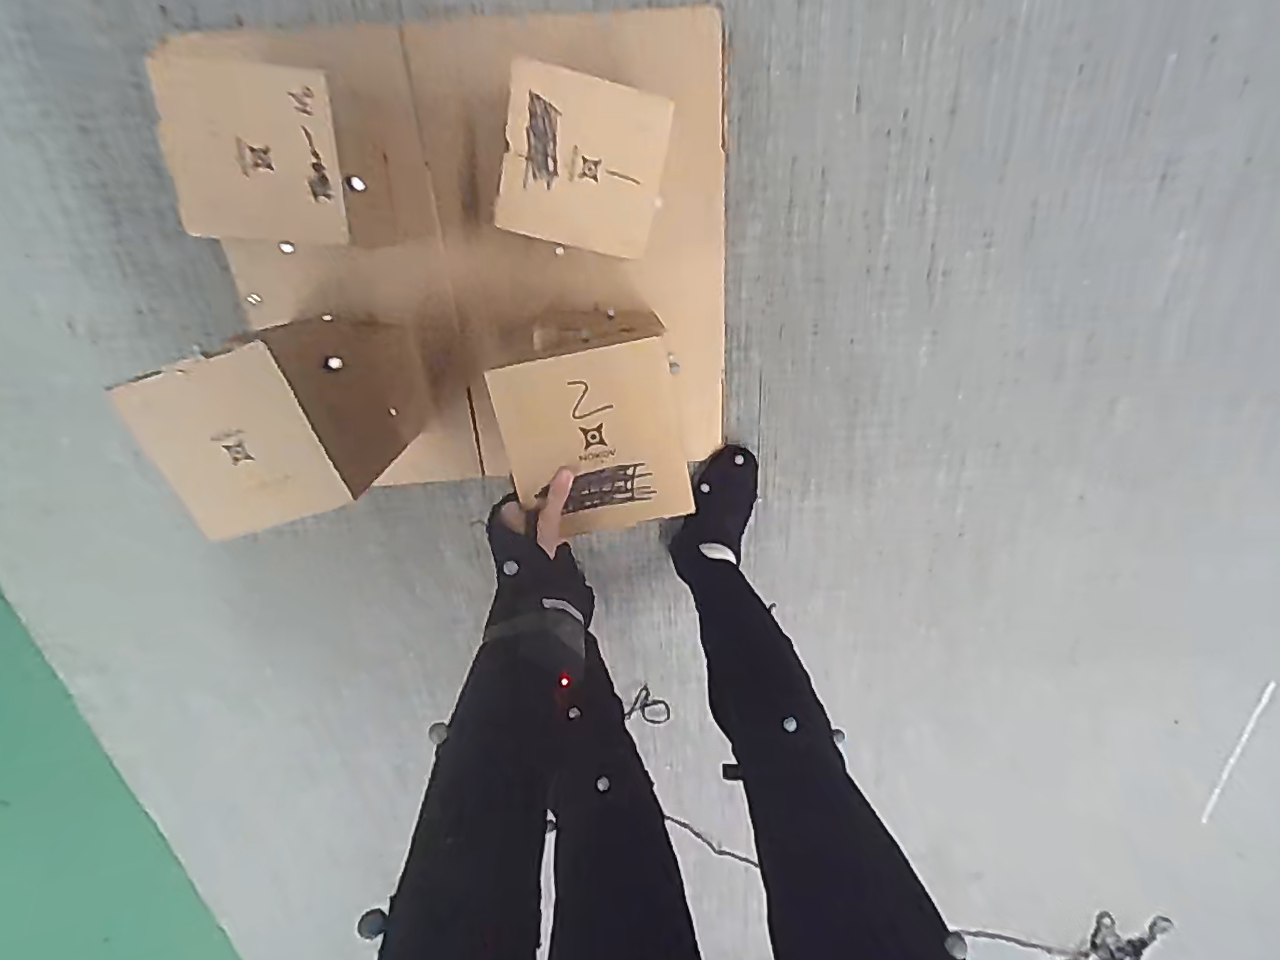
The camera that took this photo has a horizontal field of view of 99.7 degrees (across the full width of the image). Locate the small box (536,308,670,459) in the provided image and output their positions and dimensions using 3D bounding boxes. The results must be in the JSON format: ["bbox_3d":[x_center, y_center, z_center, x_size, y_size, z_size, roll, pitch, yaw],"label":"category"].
[{"bbox_3d":[-0.051,-0.140,0.761,0.168,0.176,0.179,-1,113,-4],"label":"small box"}]

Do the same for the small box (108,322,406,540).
[{"bbox_3d":[-0.391,-0.065,0.594,0.168,0.176,0.179,-15,114,4],"label":"small box"}]

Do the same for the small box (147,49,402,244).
[{"bbox_3d":[-0.405,-0.374,0.636,0.179,0.176,0.168,2,113,-4],"label":"small box"}]

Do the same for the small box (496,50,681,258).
[{"bbox_3d":[-0.064,-0.374,0.656,0.179,0.176,0.168,10,113,-9],"label":"small box"}]

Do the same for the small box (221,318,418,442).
[{"bbox_3d":[-0.421,-0.120,0.748,0.168,0.176,0.179,0,113,-5],"label":"small box"}]
